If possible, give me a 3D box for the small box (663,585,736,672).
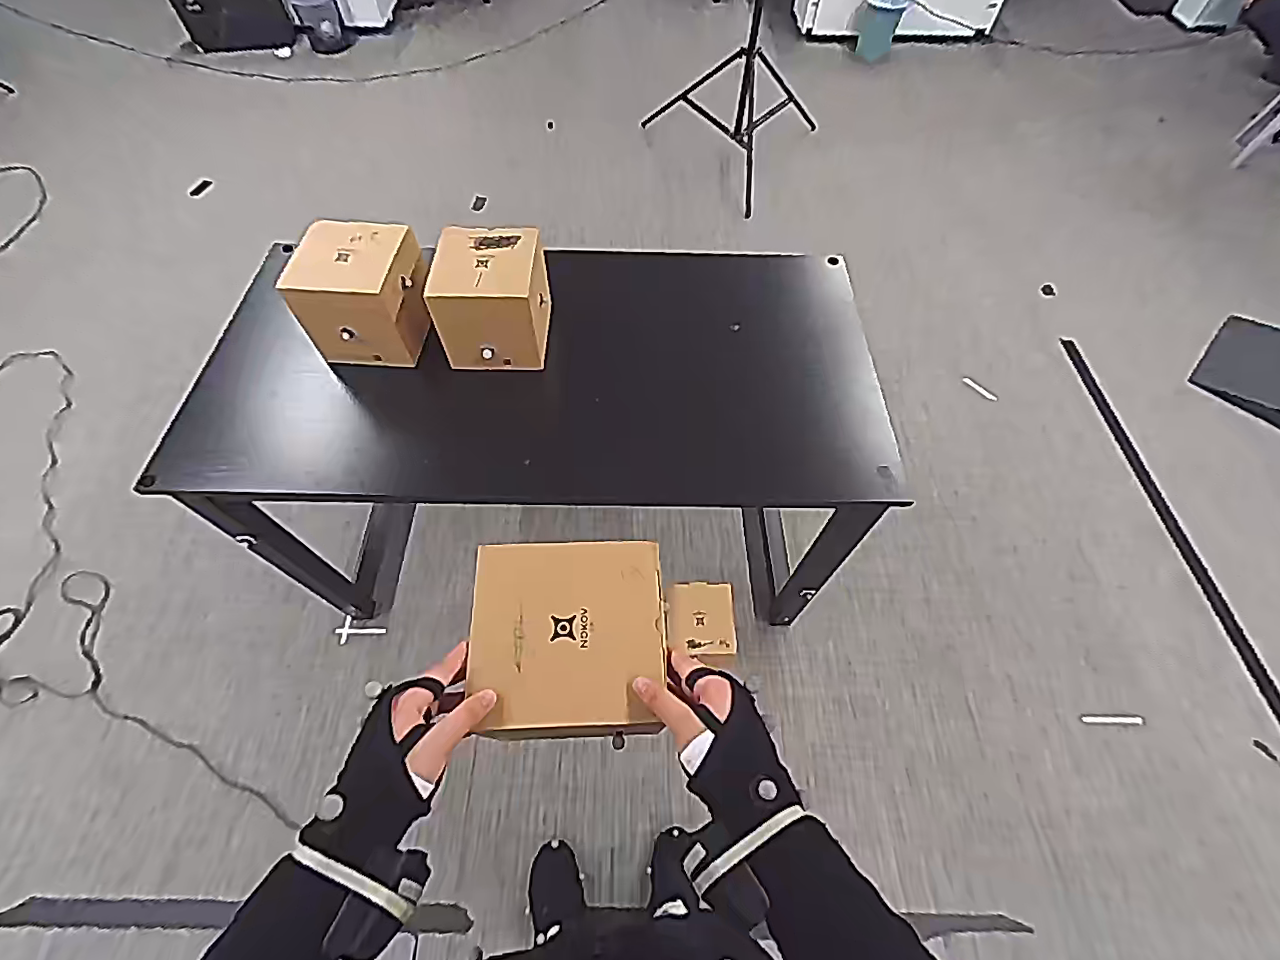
[{"bbox_3d":[0.146,0.383,1.387,0.168,0.176,0.179,-1,58,0],"label":"small box"}]

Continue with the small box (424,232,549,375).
[{"bbox_3d":[-0.257,-0.307,0.952,0.168,0.176,0.179,0,59,-1],"label":"small box"}]

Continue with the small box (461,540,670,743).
[{"bbox_3d":[-0.068,0.171,0.558,0.179,0.176,0.168,-3,60,-3],"label":"small box"}]

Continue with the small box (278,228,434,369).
[{"bbox_3d":[-0.481,-0.314,0.952,0.168,0.176,0.179,3,58,1],"label":"small box"}]
